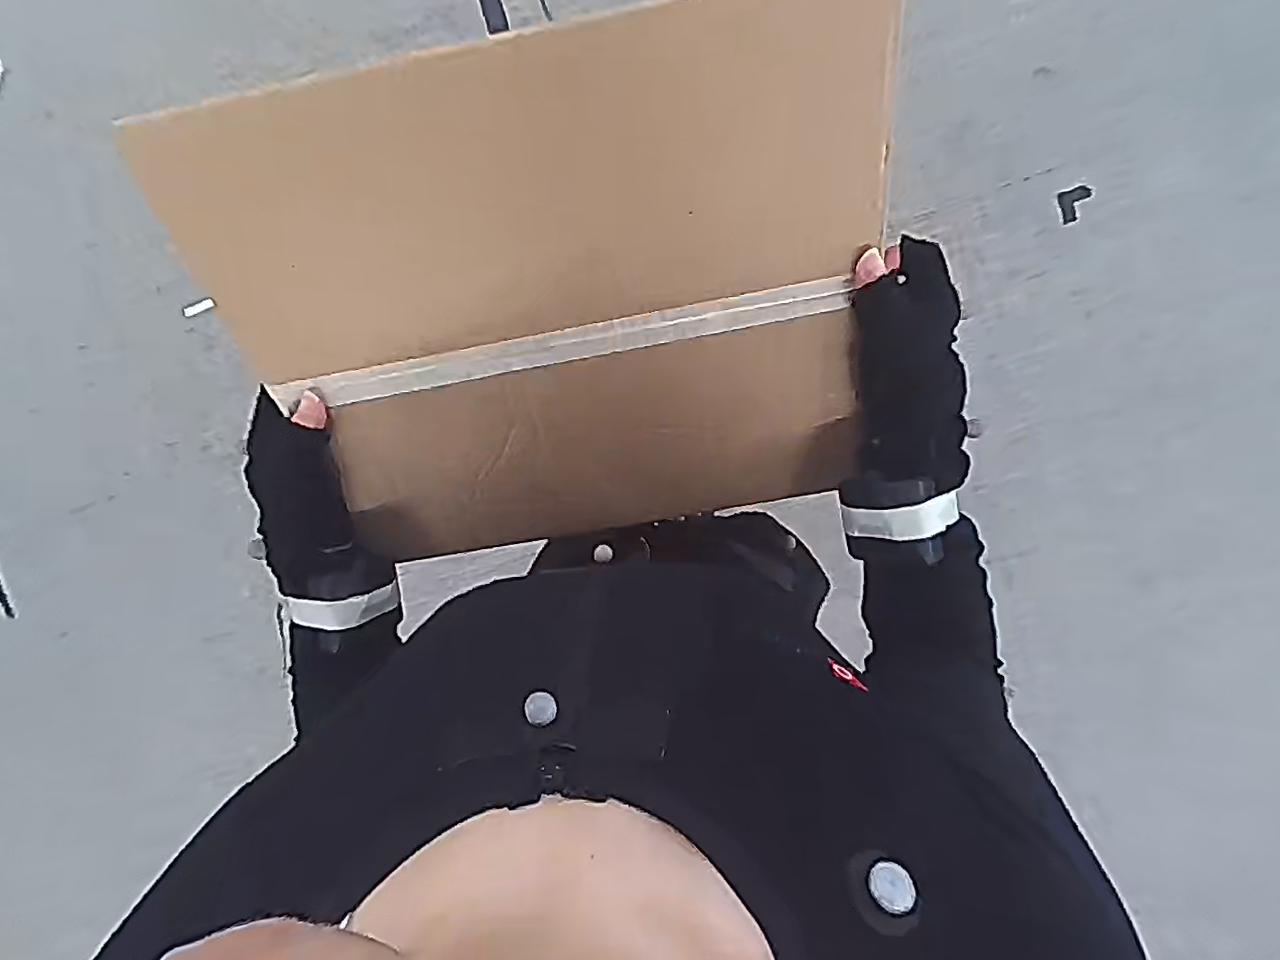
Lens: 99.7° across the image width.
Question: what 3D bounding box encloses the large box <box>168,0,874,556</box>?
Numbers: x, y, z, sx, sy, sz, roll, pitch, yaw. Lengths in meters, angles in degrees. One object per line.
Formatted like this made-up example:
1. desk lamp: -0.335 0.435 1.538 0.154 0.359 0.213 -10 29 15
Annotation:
1. large box: -0.050 -0.176 0.493 0.408 0.320 0.320 -10 123 4
